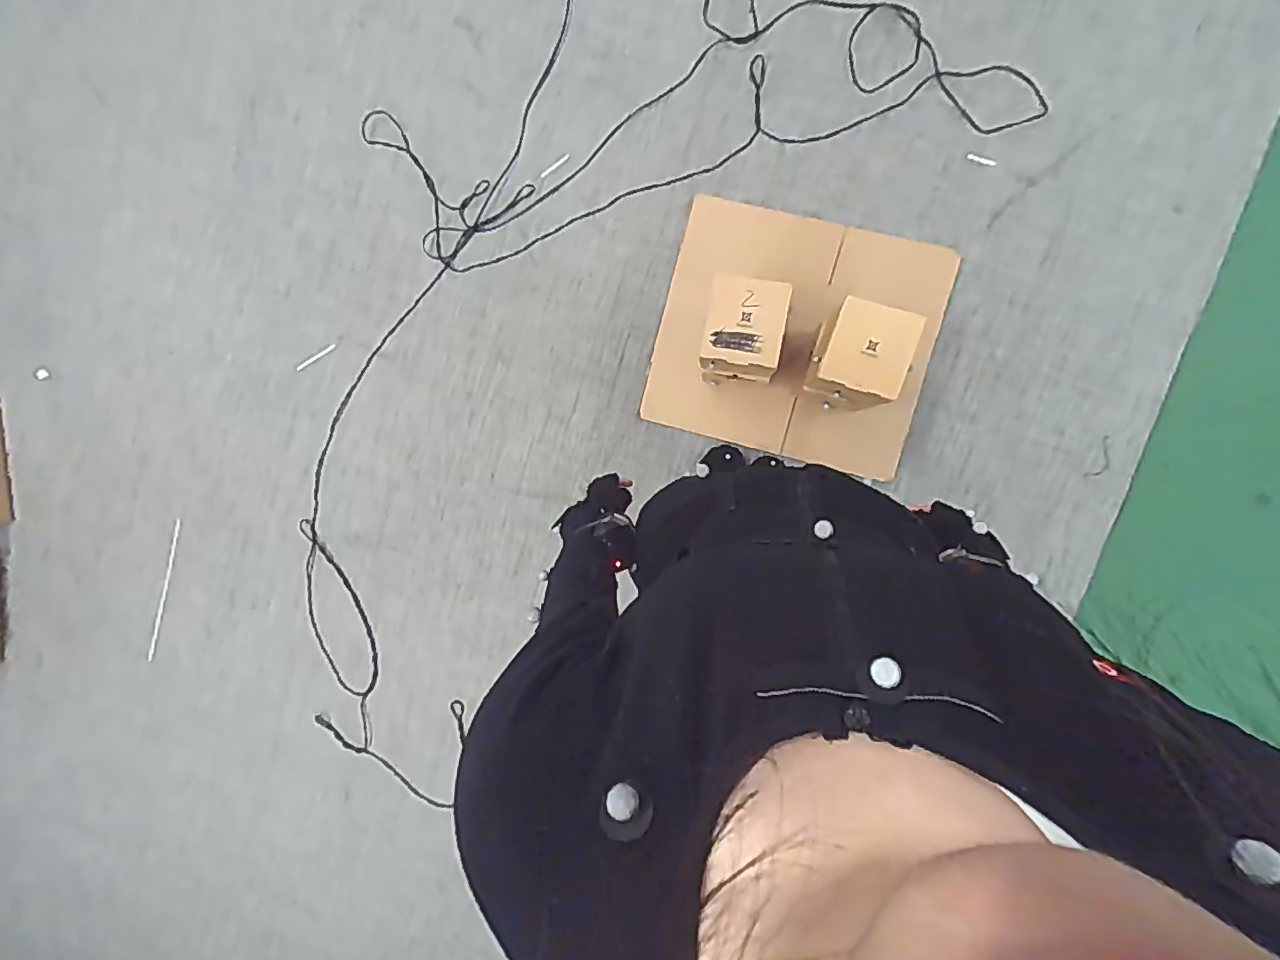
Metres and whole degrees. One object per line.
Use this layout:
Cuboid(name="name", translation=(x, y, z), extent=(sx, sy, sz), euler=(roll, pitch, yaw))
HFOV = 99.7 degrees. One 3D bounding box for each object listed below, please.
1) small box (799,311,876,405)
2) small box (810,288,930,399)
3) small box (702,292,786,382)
Cuboid(name="small box", translation=(0.498, -0.290, 1.321), extent=(0.168, 0.176, 0.179), euler=(16, 97, 8))
Cuboid(name="small box", translation=(0.480, -0.284, 1.160), extent=(0.168, 0.176, 0.179), euler=(19, 97, 6))
Cuboid(name="small box", translation=(0.255, -0.347, 1.346), extent=(0.168, 0.176, 0.179), euler=(12, 96, 7))
